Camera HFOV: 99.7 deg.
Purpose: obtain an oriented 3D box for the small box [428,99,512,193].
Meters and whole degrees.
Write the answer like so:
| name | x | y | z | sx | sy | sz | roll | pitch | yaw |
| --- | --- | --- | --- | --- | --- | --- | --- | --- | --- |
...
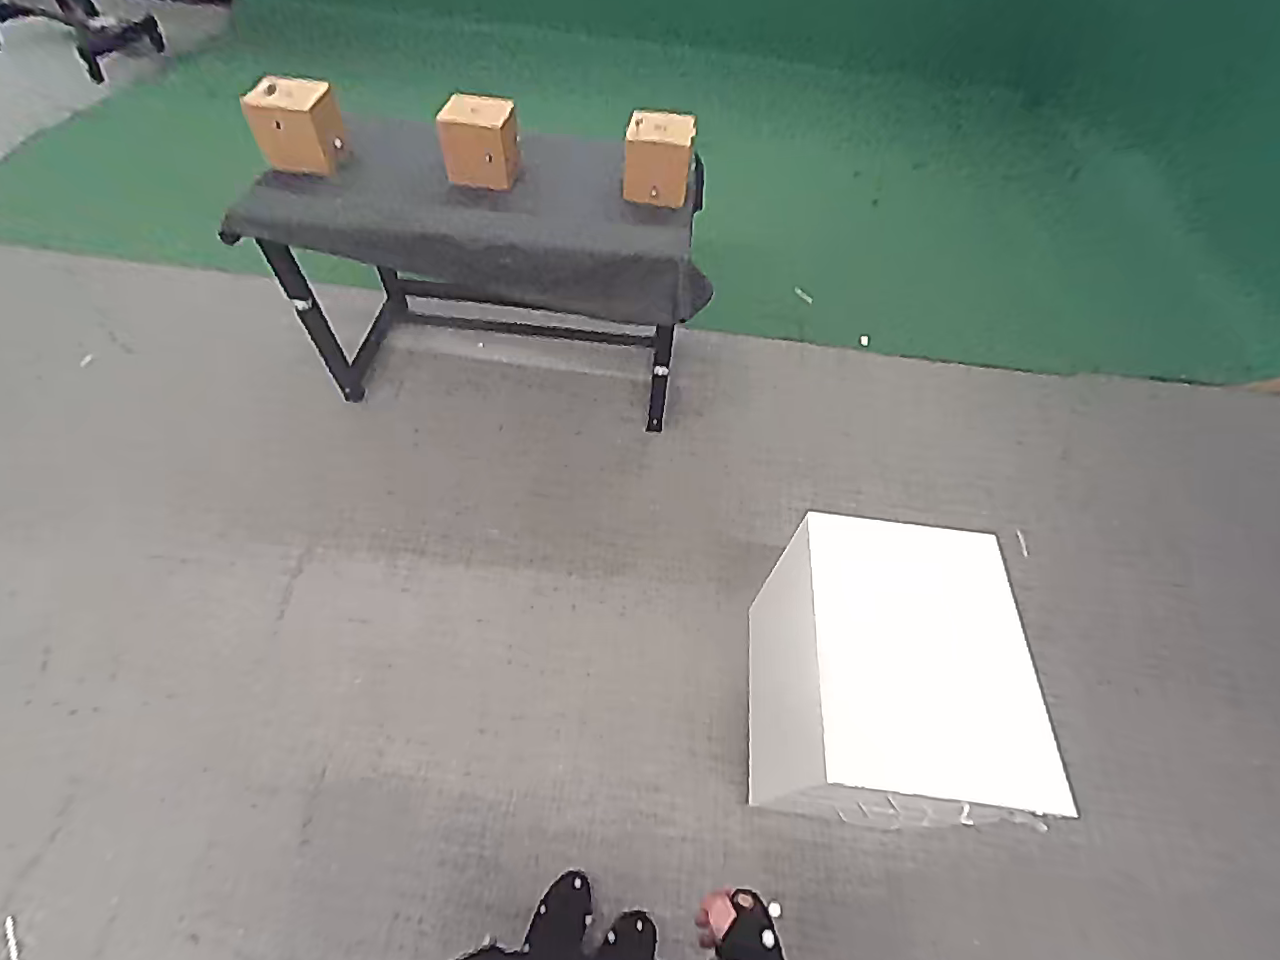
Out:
| name | x | y | z | sx | sy | sz | roll | pitch | yaw |
| --- | --- | --- | --- | --- | --- | --- | --- | --- | --- |
| small box | -0.466 | -0.930 | 1.514 | 0.179 | 0.176 | 0.168 | 7 | 52 | -1 |

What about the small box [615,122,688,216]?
| name | x | y | z | sx | sy | sz | roll | pitch | yaw |
| --- | --- | --- | --- | --- | --- | --- | --- | --- | --- |
| small box | 0.030 | -0.876 | 1.534 | 0.179 | 0.176 | 0.168 | 9 | 54 | -1 |

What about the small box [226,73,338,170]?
| name | x | y | z | sx | sy | sz | roll | pitch | yaw |
| --- | --- | --- | --- | --- | --- | --- | --- | --- | --- |
| small box | -0.967 | -0.976 | 1.479 | 0.179 | 0.176 | 0.168 | 6 | 54 | -5 |
